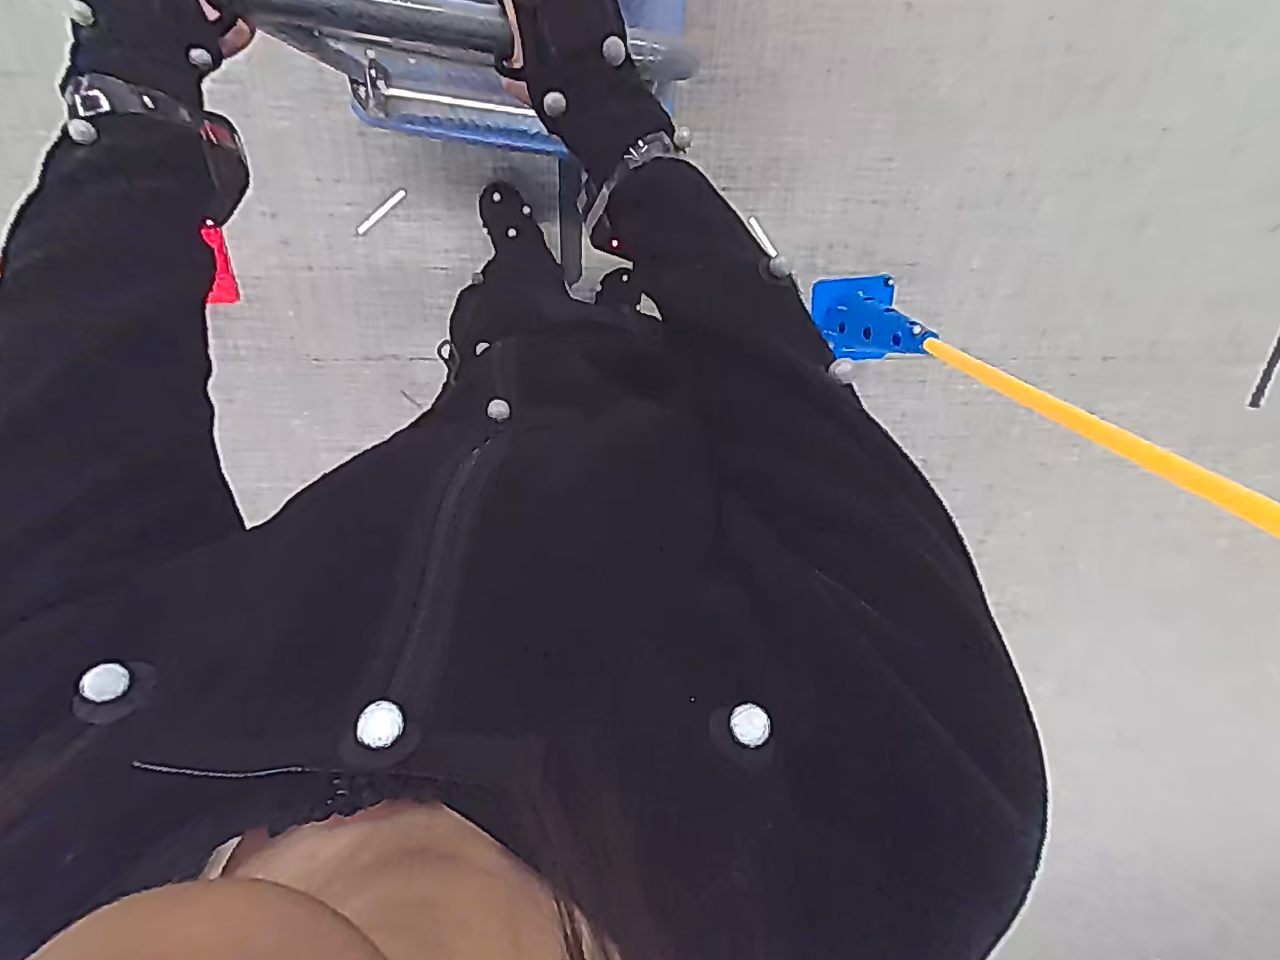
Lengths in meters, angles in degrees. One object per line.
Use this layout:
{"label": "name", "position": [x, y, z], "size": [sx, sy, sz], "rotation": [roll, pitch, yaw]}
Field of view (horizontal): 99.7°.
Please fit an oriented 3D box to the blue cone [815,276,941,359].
{"label": "blue cone", "position": [0.532, -0.333, 1.175], "size": [0.193, 0.380, 0.192], "rotation": [-4, 112, -2]}
